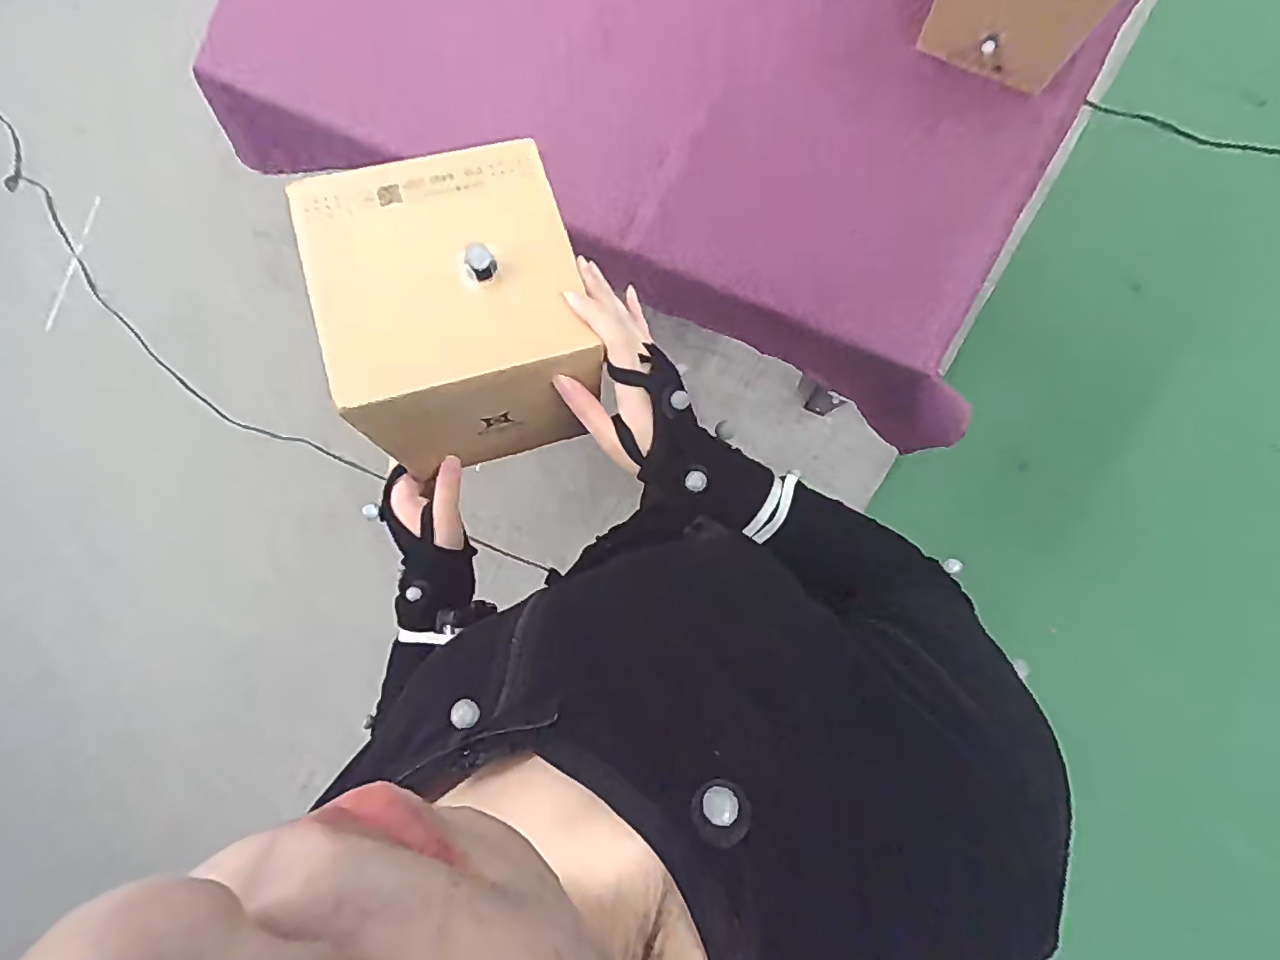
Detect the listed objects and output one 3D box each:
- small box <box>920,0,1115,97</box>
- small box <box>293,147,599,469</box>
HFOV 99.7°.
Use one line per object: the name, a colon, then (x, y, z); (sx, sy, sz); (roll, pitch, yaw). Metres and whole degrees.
small box: (0.445, -0.585, 0.598); (0.168, 0.176, 0.179); (29, 98, 8)
small box: (-0.138, -0.128, 0.425); (0.168, 0.179, 0.176); (-16, 80, -10)
